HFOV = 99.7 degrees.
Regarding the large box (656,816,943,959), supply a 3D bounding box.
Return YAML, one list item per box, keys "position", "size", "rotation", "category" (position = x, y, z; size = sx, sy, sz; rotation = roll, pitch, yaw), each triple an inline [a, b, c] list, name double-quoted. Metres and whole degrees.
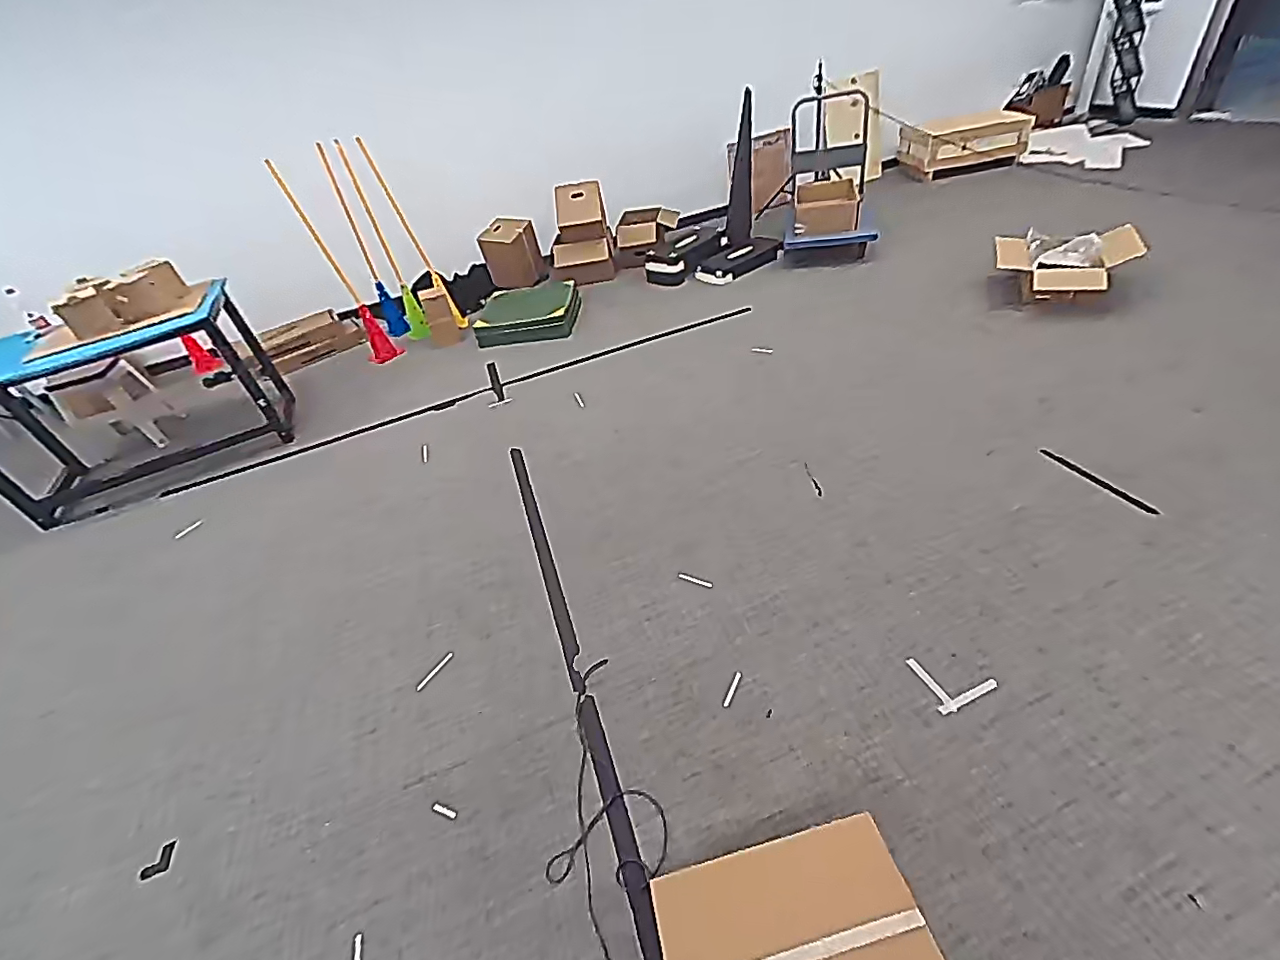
- position: [0.272, 0.849, 0.914]
  size: [0.408, 0.320, 0.320]
  rotation: [-15, 40, -4]
  category: "large box"
